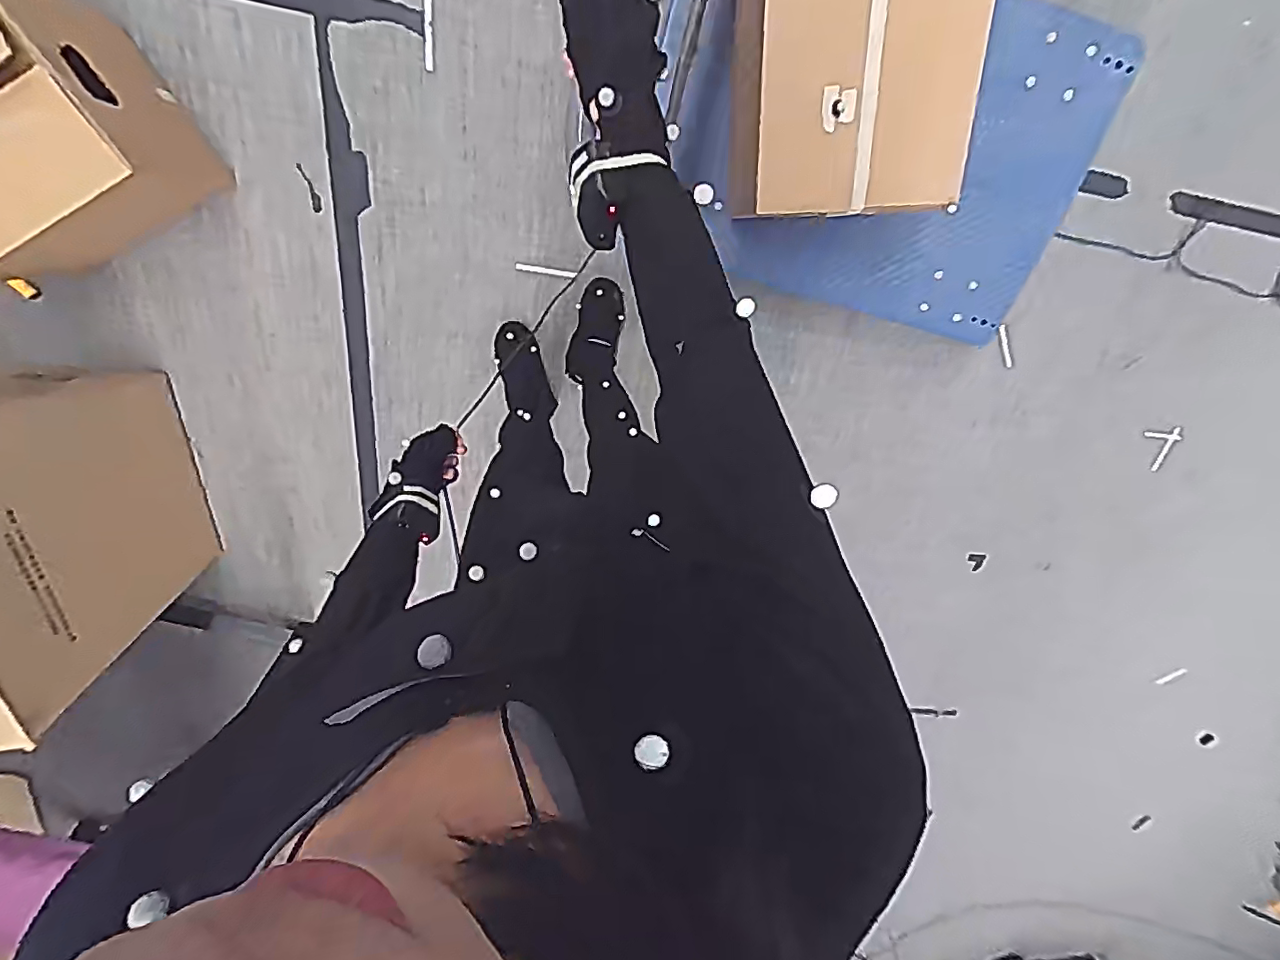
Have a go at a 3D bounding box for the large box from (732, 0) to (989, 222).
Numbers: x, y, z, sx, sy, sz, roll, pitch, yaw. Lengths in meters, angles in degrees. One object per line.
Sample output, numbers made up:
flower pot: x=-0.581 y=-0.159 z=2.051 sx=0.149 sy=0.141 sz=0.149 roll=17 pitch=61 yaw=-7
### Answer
large box: x=0.330 y=-0.662 z=0.900 sx=0.320 sy=0.320 sz=0.408 roll=-2 pitch=115 yaw=3
